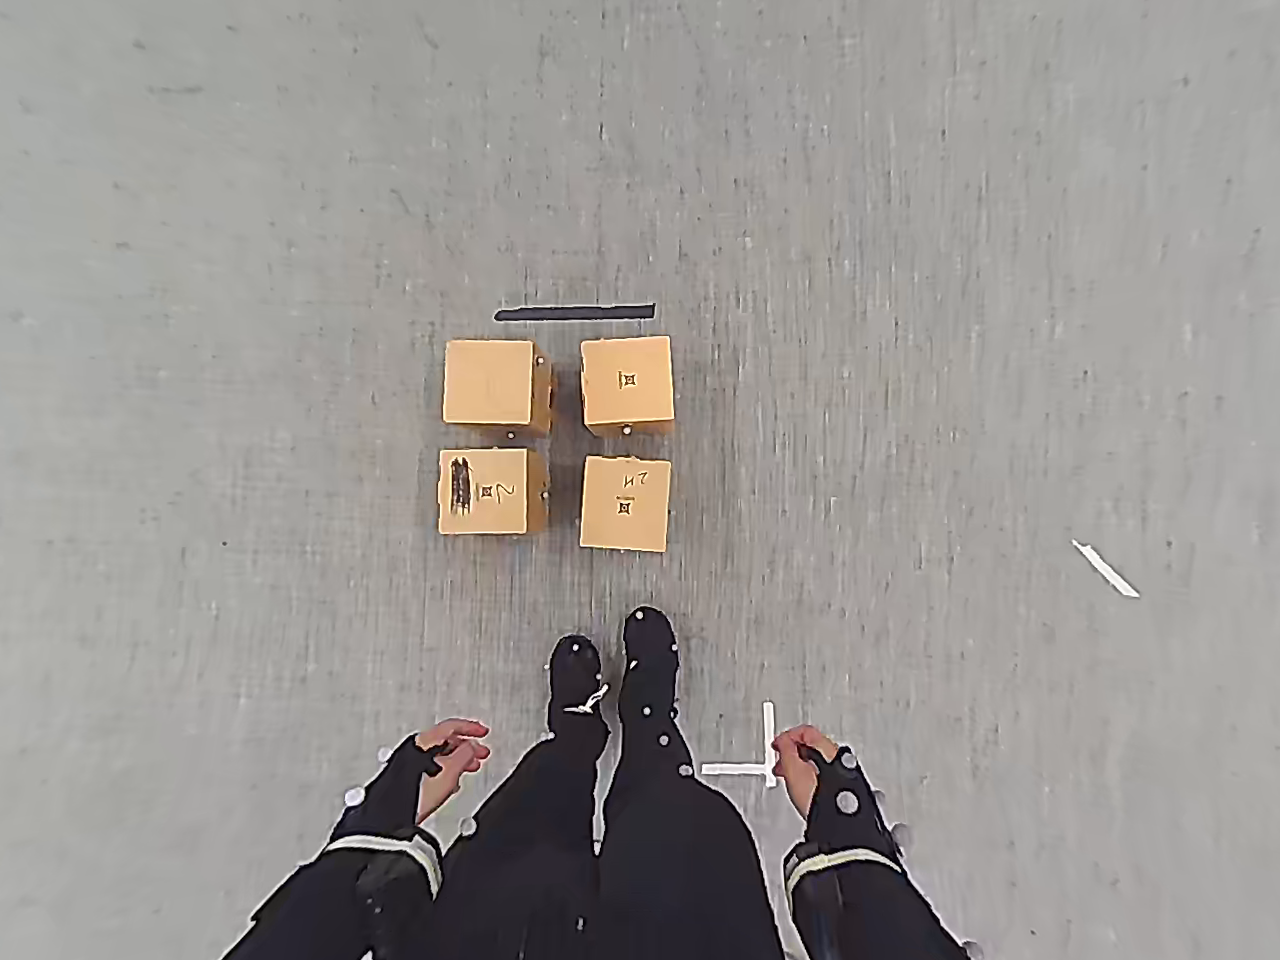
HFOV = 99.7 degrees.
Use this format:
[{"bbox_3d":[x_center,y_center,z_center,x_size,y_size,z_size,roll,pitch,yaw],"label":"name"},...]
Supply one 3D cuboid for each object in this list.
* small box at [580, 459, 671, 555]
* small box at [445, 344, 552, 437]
[{"bbox_3d":[-0.024,0.054,1.109,0.168,0.176,0.179,4,87,3],"label":"small box"},{"bbox_3d":[-0.290,-0.181,1.136,0.179,0.176,0.168,2,86,3],"label":"small box"}]
